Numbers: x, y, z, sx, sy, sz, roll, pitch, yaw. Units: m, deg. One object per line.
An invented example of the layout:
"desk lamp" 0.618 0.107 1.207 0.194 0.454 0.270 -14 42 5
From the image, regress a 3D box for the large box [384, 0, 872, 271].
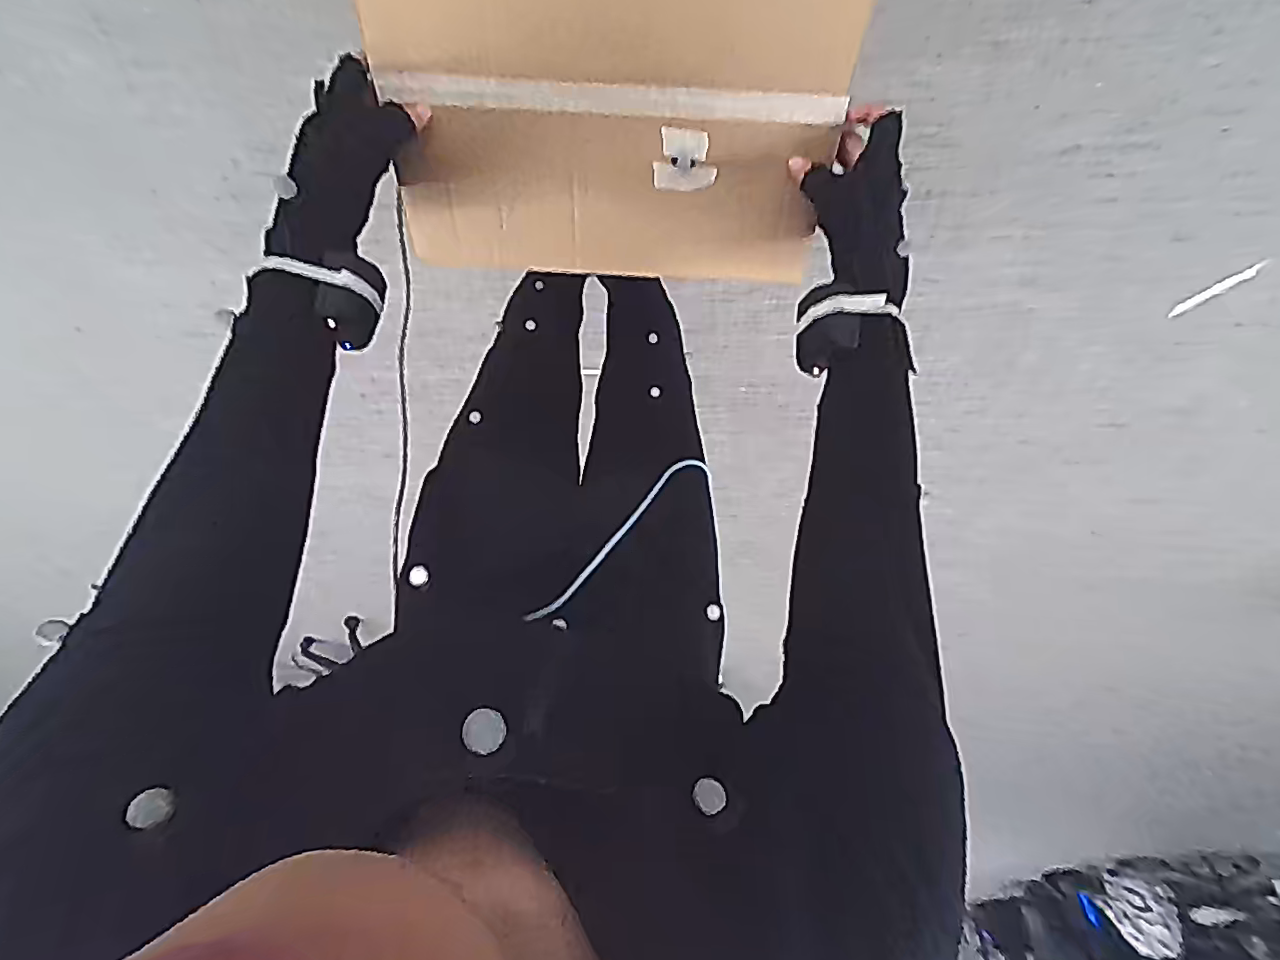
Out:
"large box" -0.014 -0.447 0.589 0.408 0.320 0.320 2 135 -2
